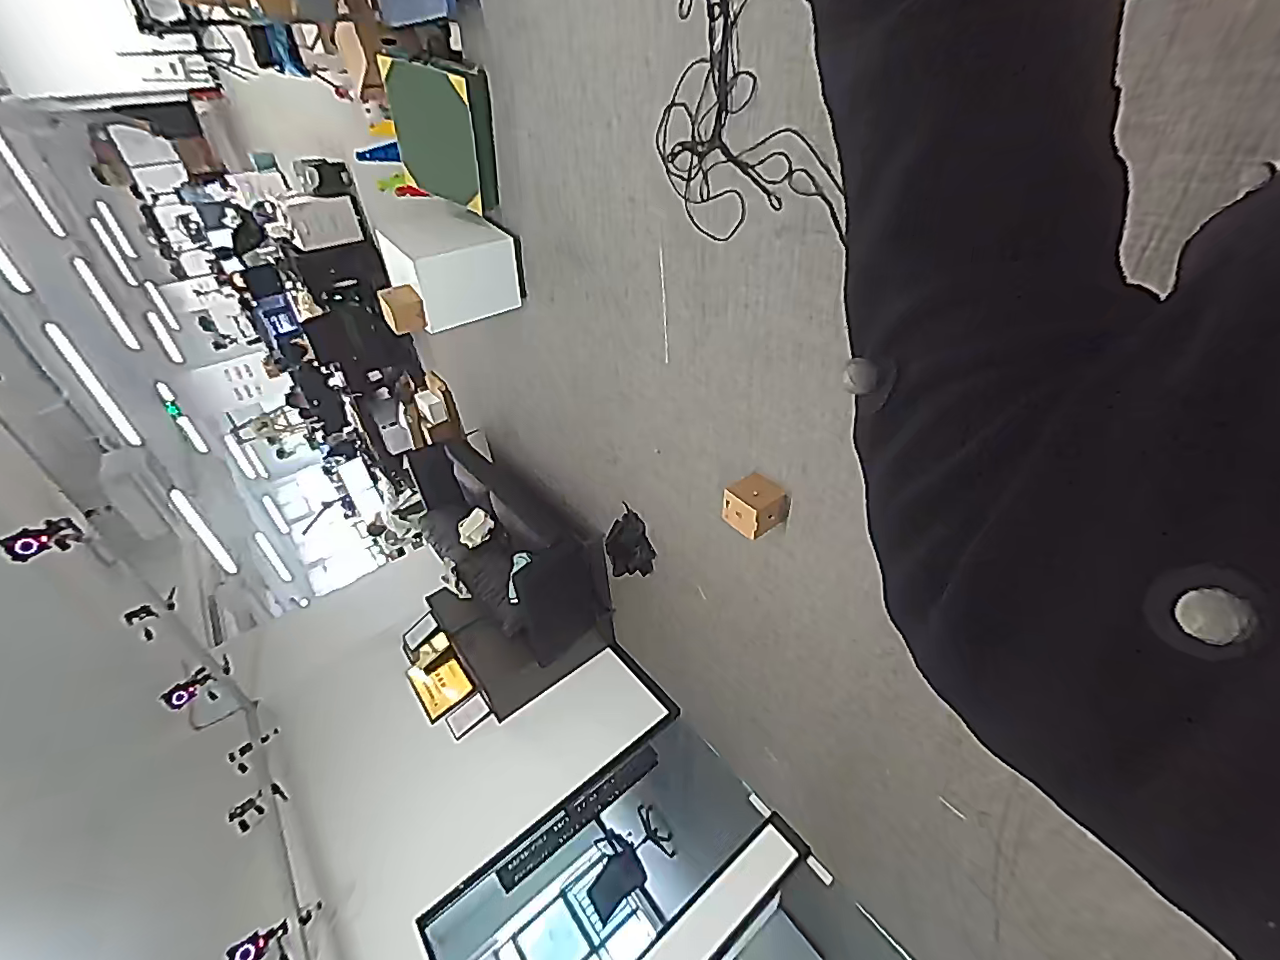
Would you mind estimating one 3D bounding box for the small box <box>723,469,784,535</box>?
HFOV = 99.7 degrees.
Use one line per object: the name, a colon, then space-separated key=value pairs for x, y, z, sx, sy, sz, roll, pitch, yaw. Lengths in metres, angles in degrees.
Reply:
small box: x=0.457 y=0.082 z=2.172 sx=0.179 sy=0.176 sz=0.168 roll=37 pitch=144 yaw=37
